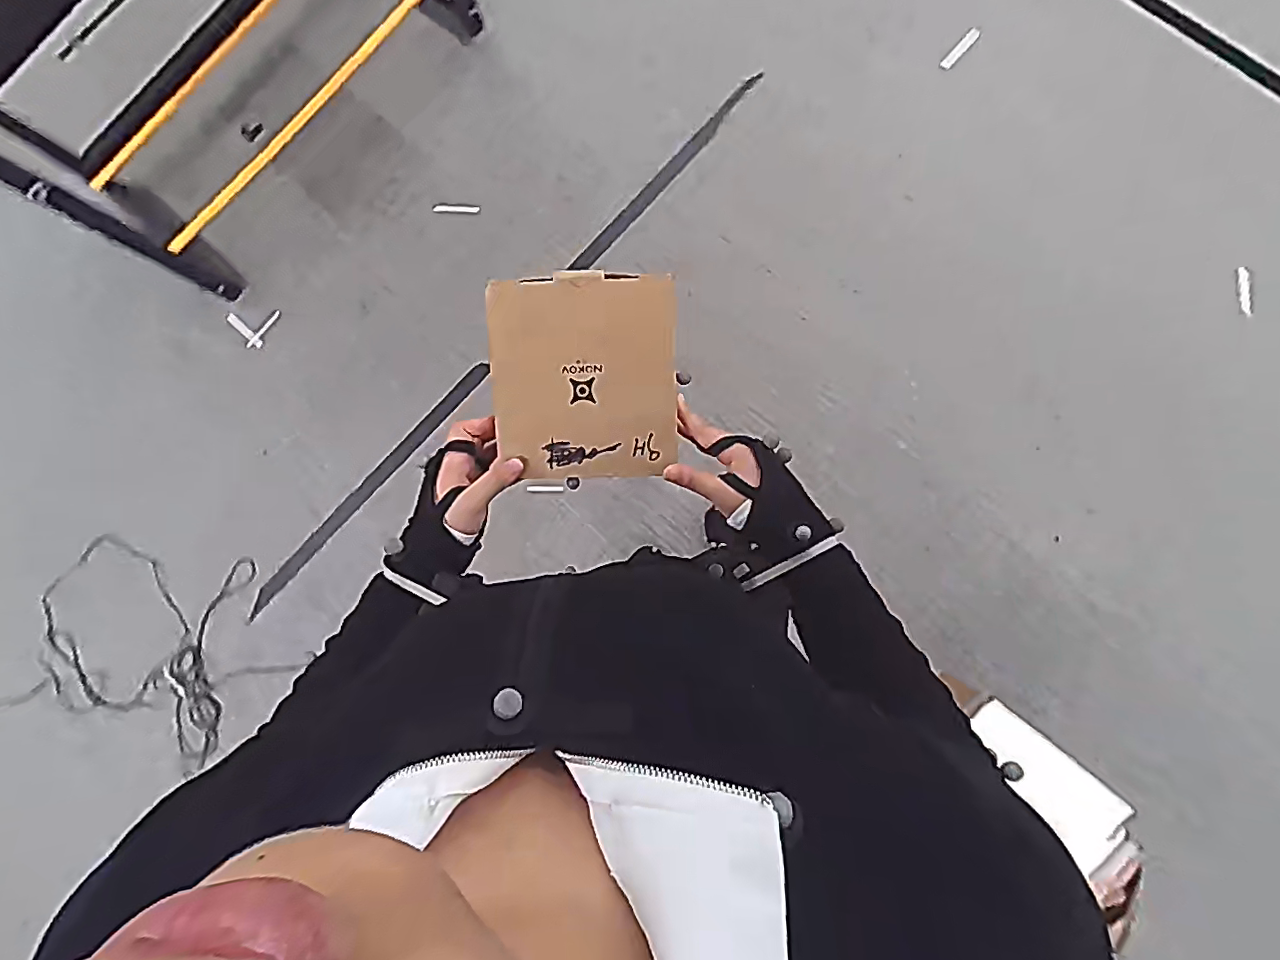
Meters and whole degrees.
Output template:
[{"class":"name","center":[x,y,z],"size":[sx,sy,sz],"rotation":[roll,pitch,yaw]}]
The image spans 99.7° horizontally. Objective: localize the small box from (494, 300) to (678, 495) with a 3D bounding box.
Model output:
[{"class":"small box","center":[-0.046,-0.087,0.577],"size":[0.168,0.176,0.179],"rotation":[-2,101,3]}]
